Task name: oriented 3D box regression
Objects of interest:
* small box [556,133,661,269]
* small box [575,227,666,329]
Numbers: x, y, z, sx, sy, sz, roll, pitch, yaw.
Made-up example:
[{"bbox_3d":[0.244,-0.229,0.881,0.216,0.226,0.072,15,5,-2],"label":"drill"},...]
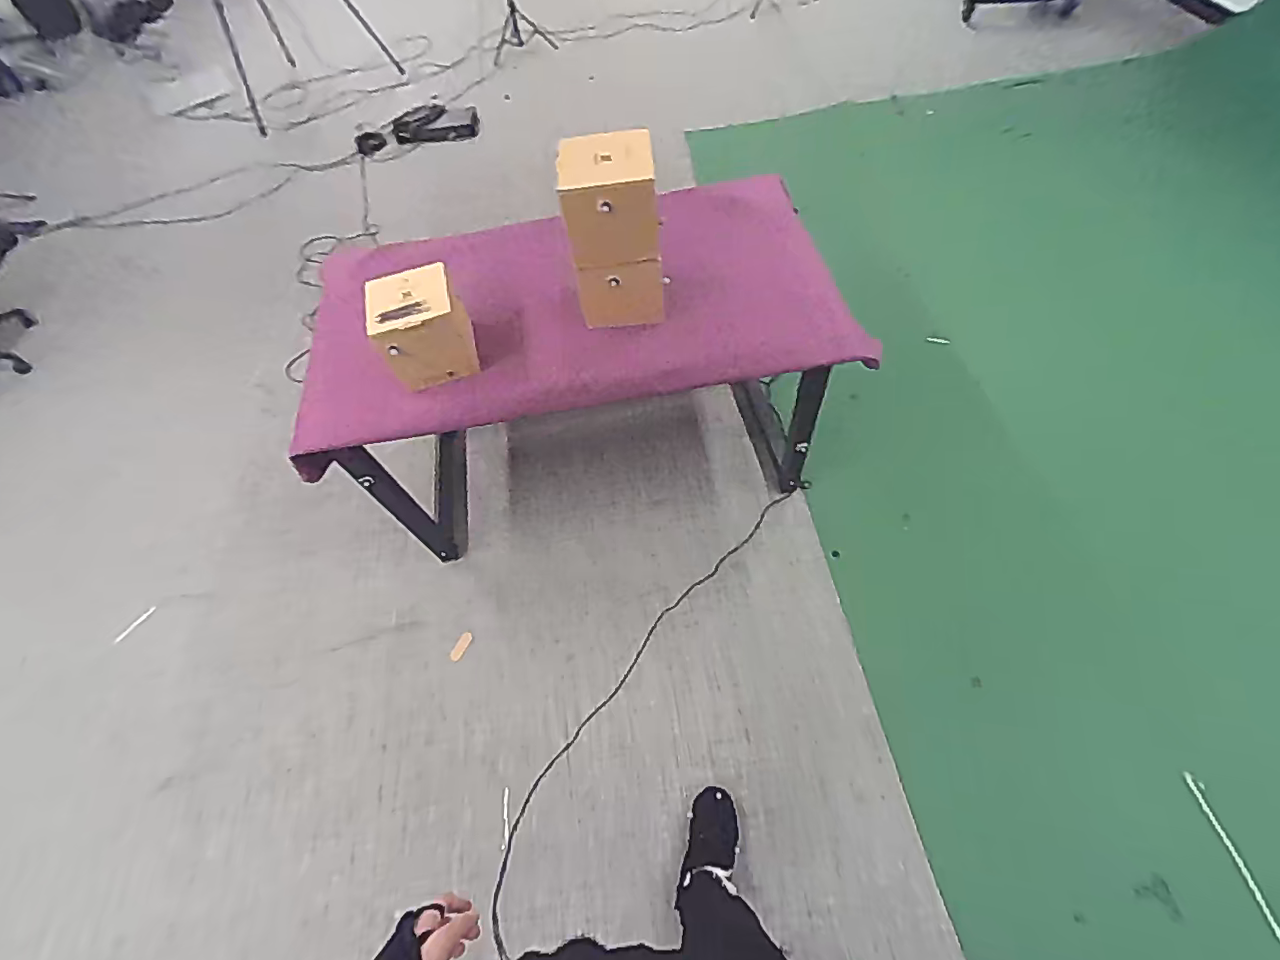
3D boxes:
[{"bbox_3d":[-0.055,-0.530,1.043,0.179,0.176,0.168,-5,60,3],"label":"small box"},{"bbox_3d":[-0.038,-0.450,1.184,0.179,0.176,0.168,-4,59,3],"label":"small box"}]
